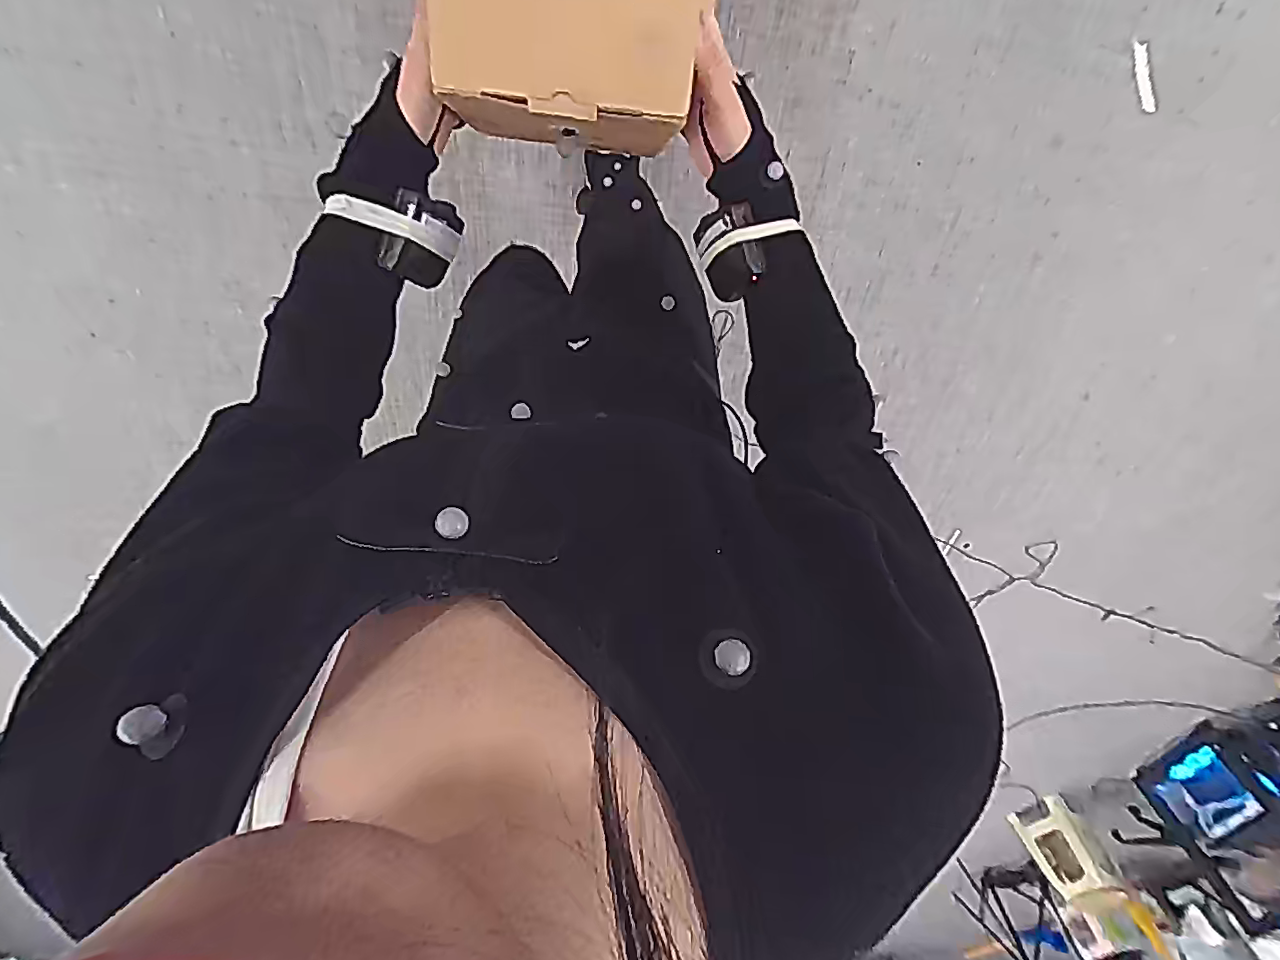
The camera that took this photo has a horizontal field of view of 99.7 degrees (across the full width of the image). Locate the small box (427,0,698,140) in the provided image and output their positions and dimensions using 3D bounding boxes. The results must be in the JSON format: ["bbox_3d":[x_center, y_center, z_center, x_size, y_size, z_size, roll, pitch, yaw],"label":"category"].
[{"bbox_3d":[-0.049,-0.359,0.383,0.168,0.176,0.179,3,115,-8],"label":"small box"}]
